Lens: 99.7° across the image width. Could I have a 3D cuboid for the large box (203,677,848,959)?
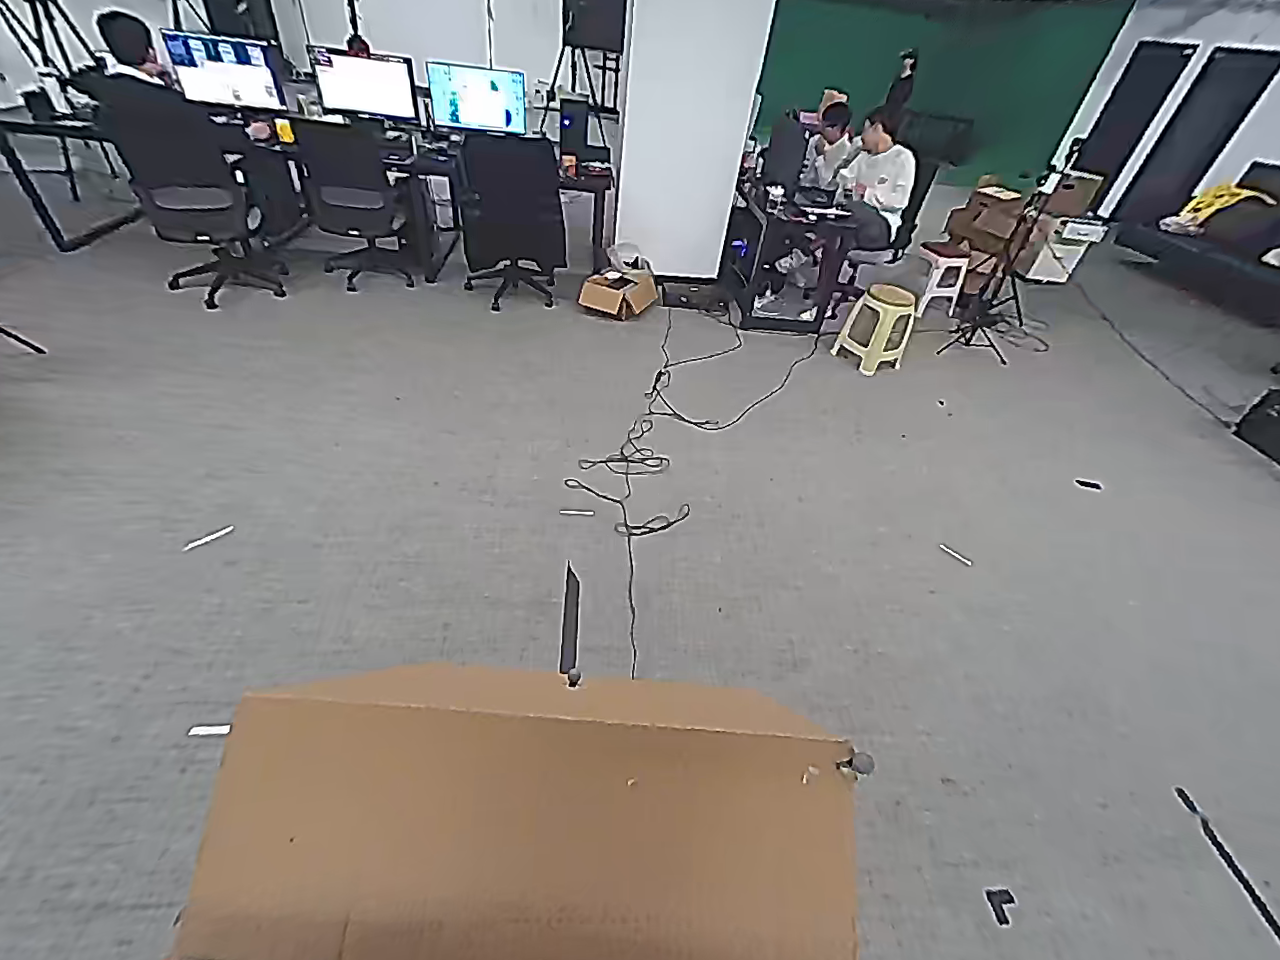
[{"bbox_3d":[-0.074,0.351,0.469,0.408,0.320,0.320,4,76,1],"label":"large box"}]
